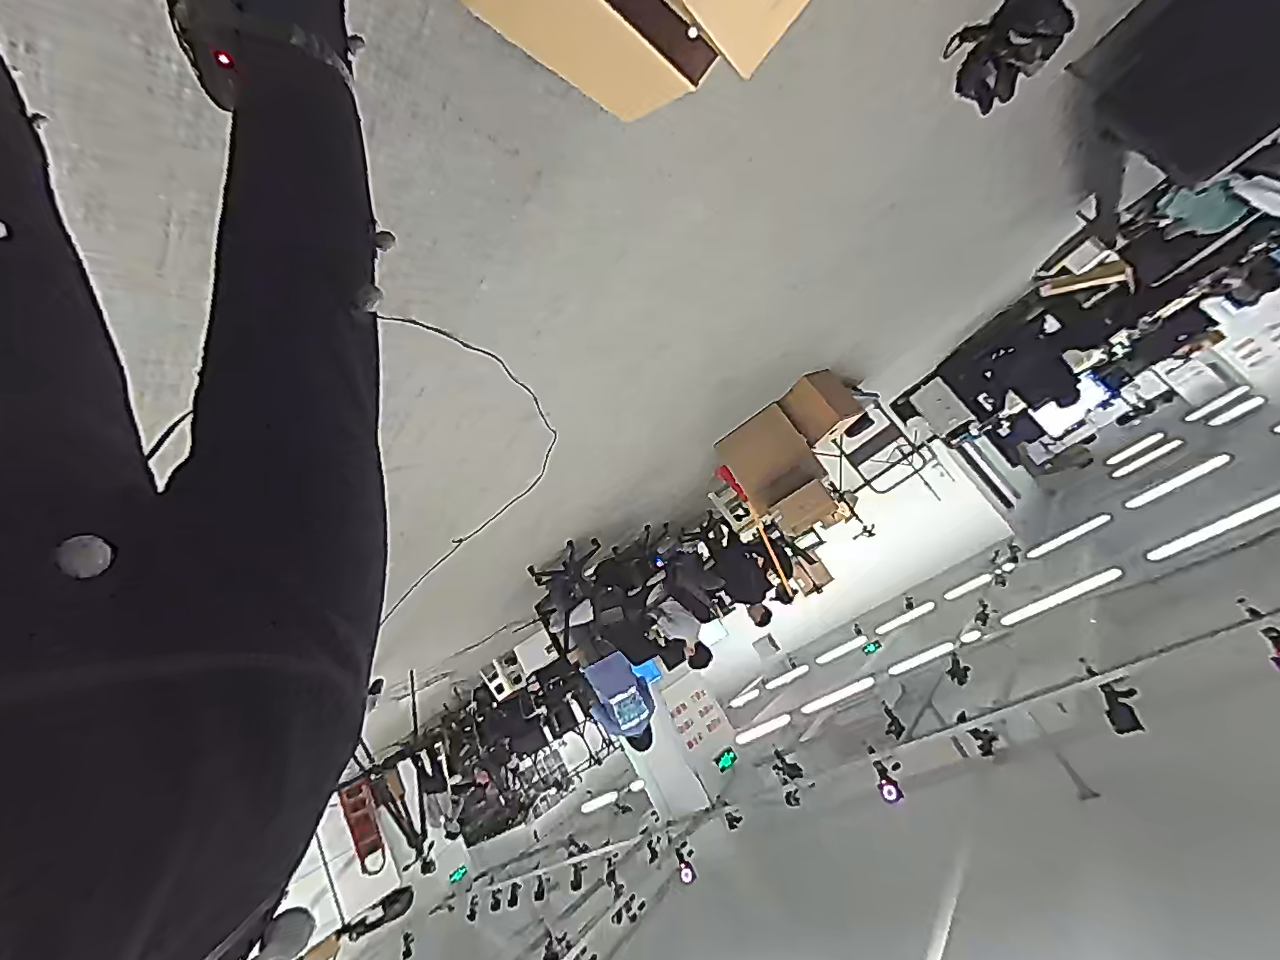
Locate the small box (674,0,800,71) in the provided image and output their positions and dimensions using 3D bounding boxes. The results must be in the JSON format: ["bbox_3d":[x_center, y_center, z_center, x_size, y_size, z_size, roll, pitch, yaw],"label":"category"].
[{"bbox_3d":[0.107,-0.685,0.683,0.168,0.176,0.179,-42,159,32],"label":"small box"}]
